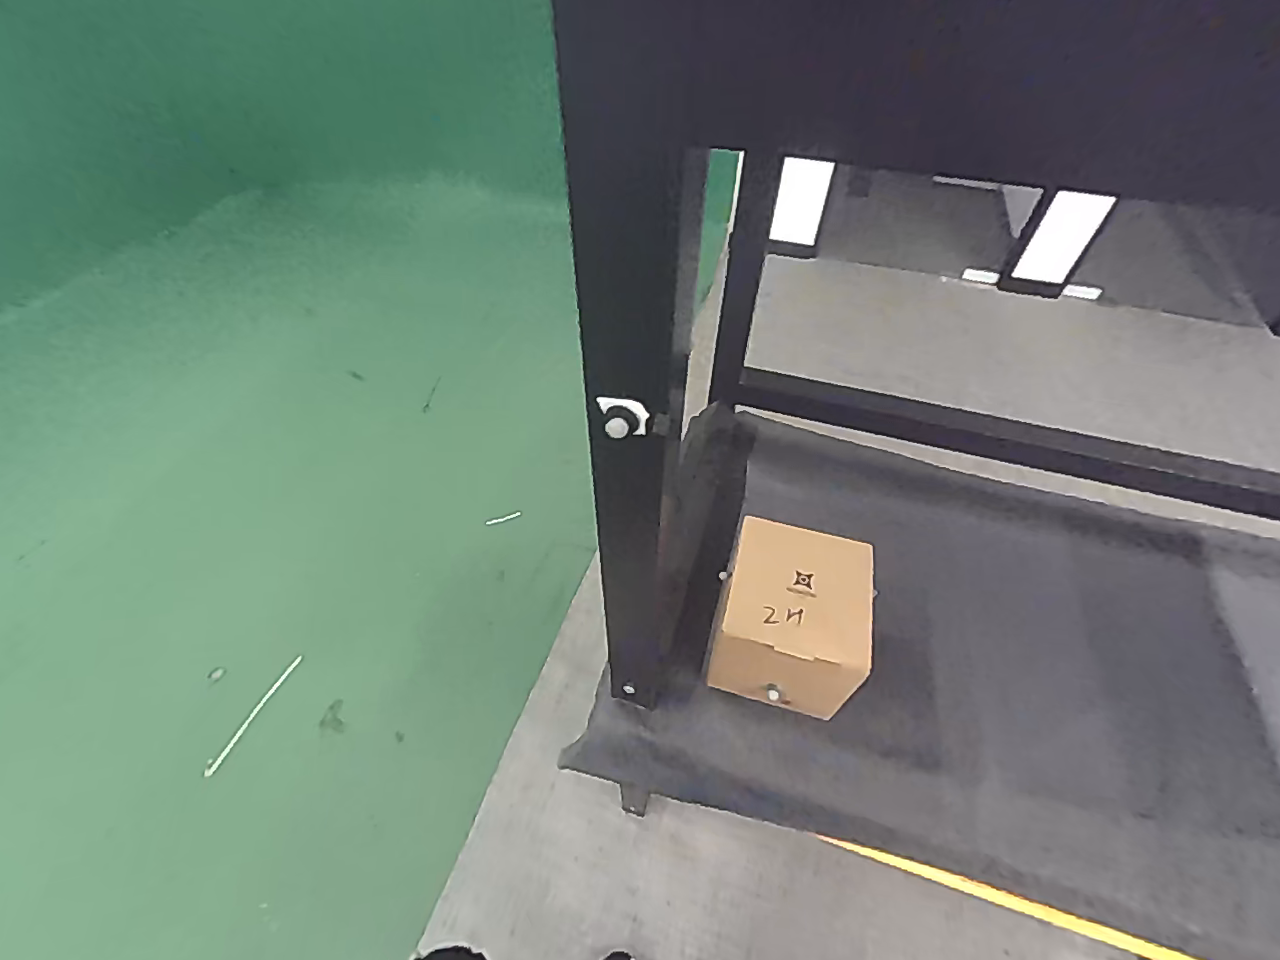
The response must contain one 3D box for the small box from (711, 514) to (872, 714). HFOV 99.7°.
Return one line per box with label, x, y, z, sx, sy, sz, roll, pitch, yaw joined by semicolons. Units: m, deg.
small box;0.194;0.177;0.714;0.168;0.176;0.179;13;51;10
